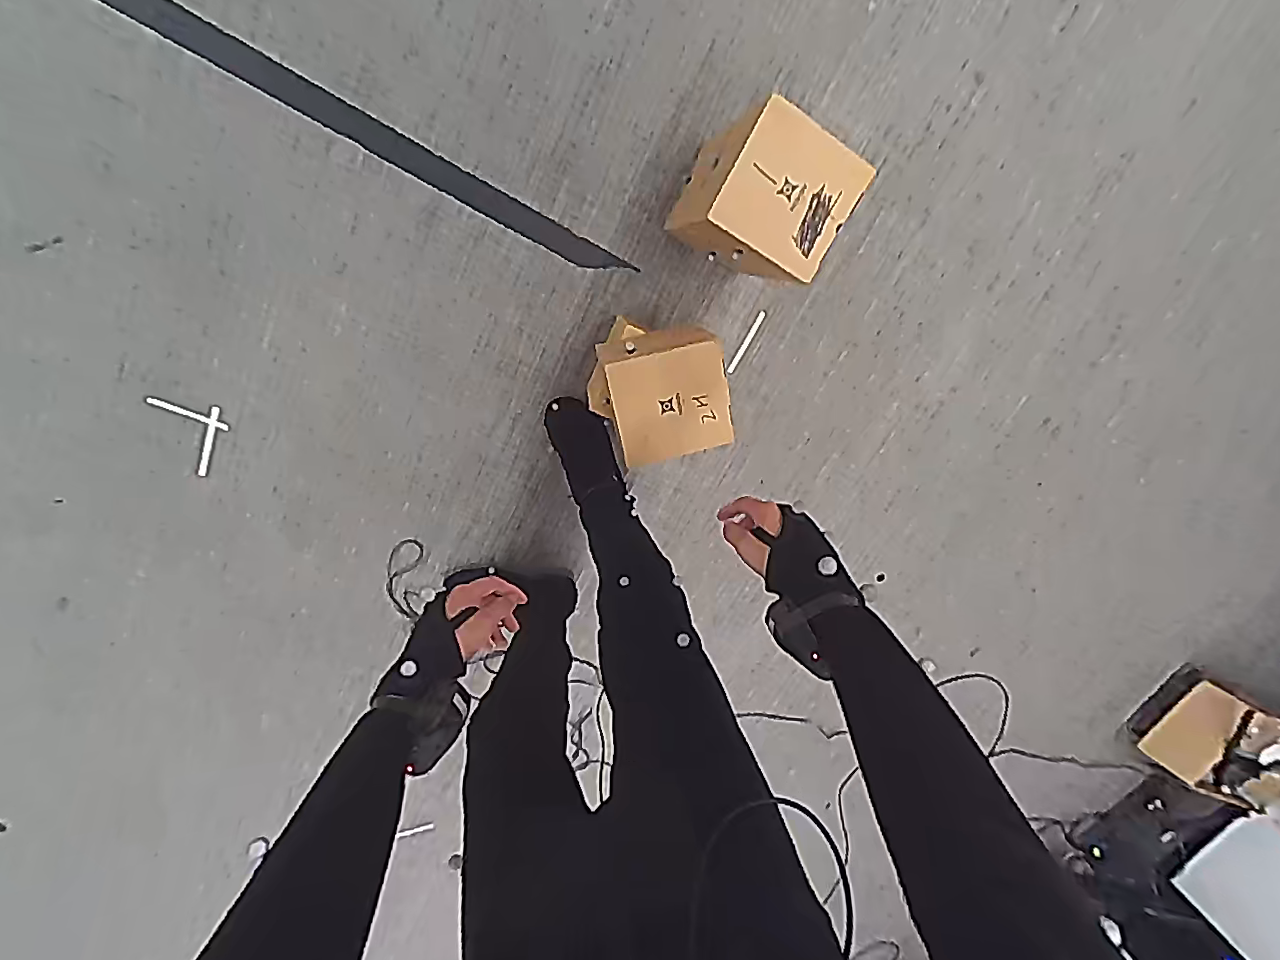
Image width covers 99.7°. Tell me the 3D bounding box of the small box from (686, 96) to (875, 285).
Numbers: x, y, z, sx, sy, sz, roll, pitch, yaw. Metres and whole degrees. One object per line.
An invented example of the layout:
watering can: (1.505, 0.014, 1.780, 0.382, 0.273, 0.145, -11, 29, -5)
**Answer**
small box: (0.190, -0.407, 0.787, 0.179, 0.176, 0.168, 25, 107, -17)

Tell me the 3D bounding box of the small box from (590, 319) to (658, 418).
small box: (0.012, -0.196, 1.034, 0.179, 0.176, 0.168, 21, 109, -16)

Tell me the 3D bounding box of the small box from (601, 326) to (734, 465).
small box: (0.037, -0.144, 0.880, 0.179, 0.176, 0.168, -14, 115, -3)
